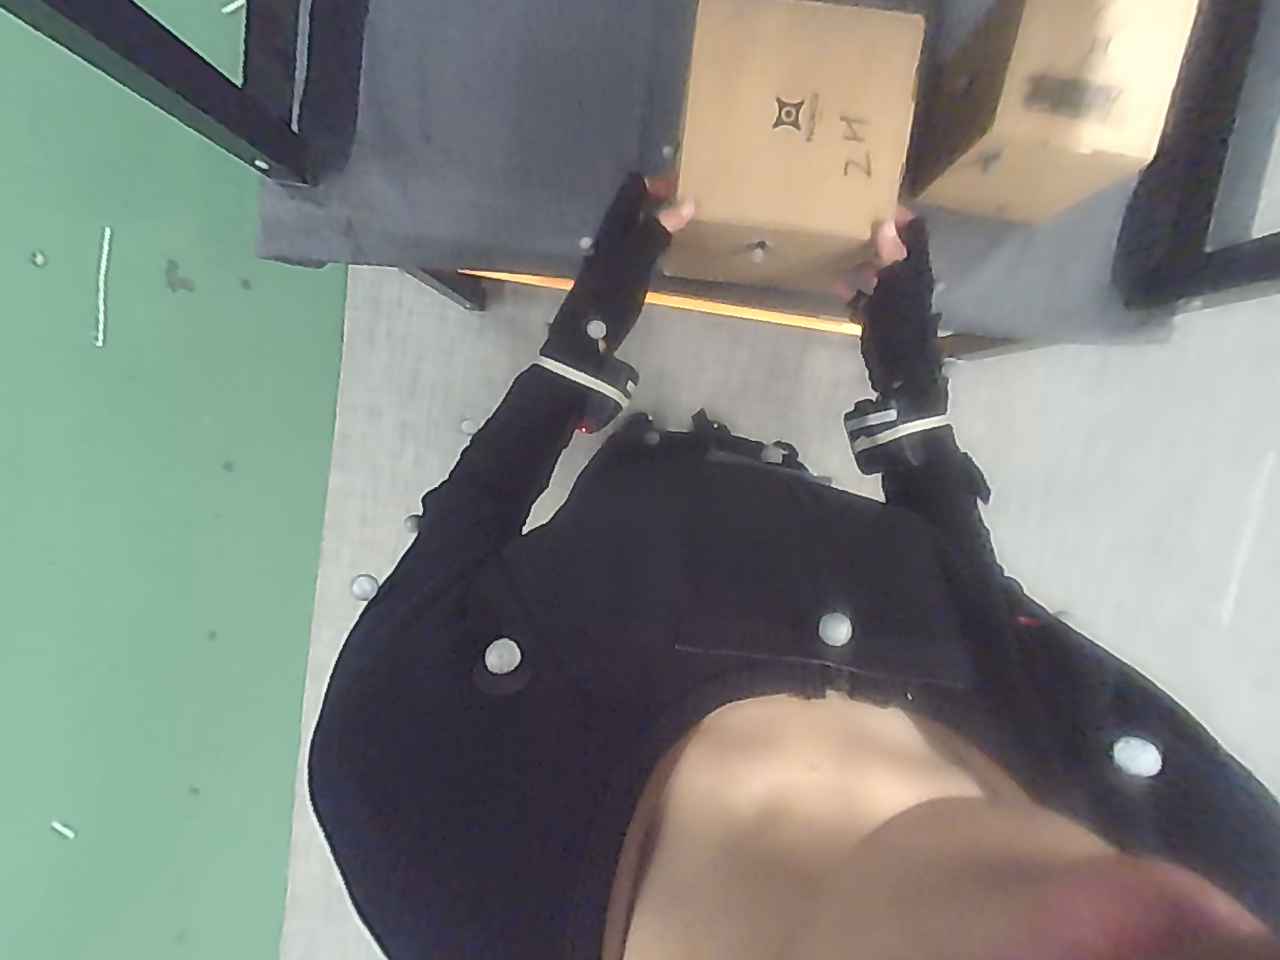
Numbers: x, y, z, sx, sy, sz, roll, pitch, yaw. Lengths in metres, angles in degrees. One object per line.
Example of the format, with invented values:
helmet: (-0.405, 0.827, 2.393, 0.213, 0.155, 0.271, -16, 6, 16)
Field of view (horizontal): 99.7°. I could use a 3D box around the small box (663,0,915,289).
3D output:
small box: (0.117, -0.287, 0.502, 0.179, 0.176, 0.168, 6, 96, -1)
